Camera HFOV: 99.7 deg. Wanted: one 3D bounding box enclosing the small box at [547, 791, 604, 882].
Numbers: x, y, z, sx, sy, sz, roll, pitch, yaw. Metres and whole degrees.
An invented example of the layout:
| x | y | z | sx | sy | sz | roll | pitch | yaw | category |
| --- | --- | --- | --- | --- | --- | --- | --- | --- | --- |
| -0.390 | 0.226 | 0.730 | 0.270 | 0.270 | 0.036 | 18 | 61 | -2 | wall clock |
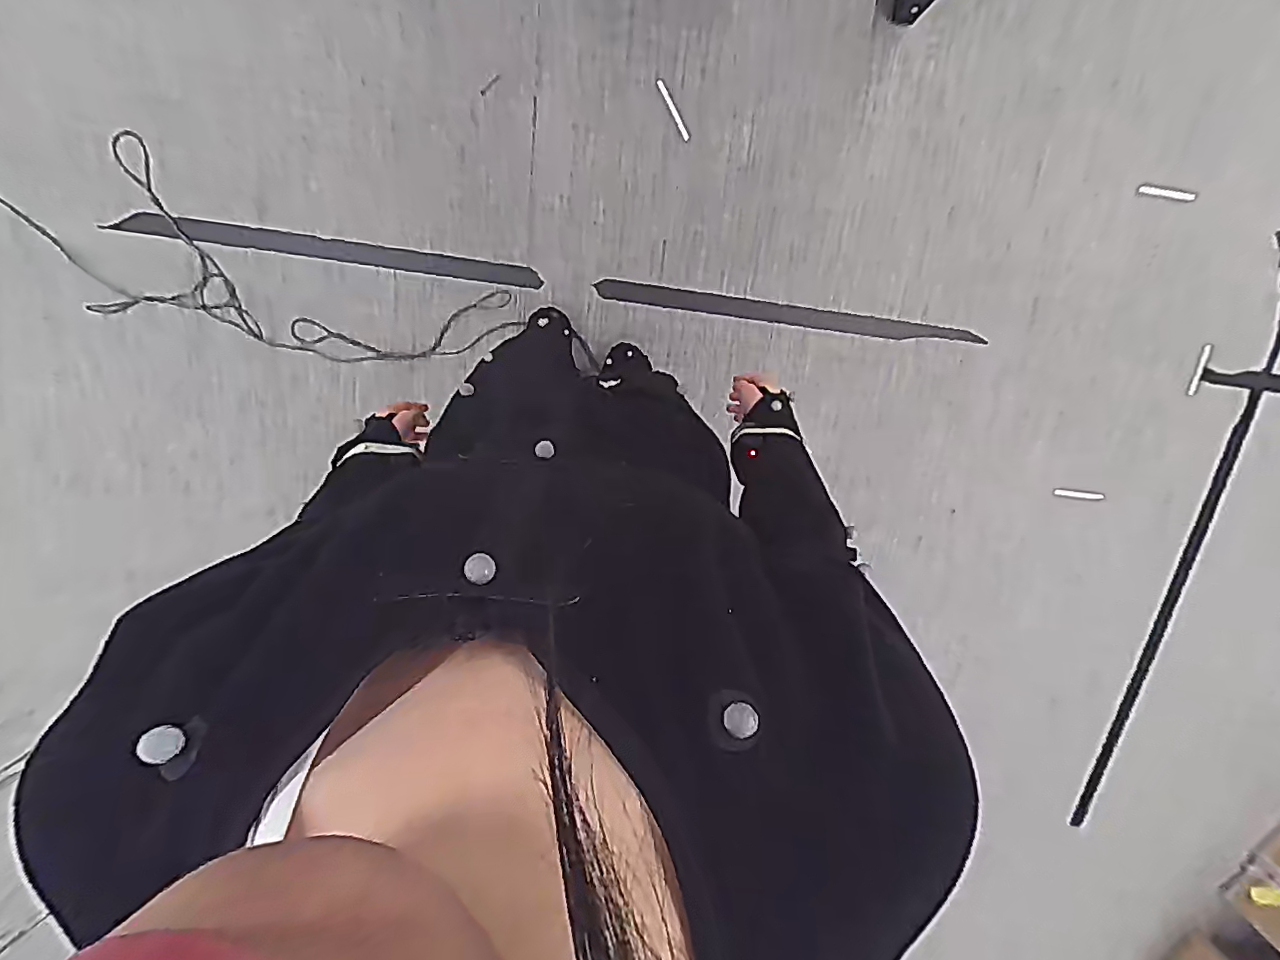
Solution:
| x | y | z | sx | sy | sz | roll | pitch | yaw | category |
| --- | --- | --- | --- | --- | --- | --- | --- | --- | --- |
| -0.199 | 1.129 | 1.721 | 0.168 | 0.176 | 0.179 | -4 | 106 | -3 | small box |
